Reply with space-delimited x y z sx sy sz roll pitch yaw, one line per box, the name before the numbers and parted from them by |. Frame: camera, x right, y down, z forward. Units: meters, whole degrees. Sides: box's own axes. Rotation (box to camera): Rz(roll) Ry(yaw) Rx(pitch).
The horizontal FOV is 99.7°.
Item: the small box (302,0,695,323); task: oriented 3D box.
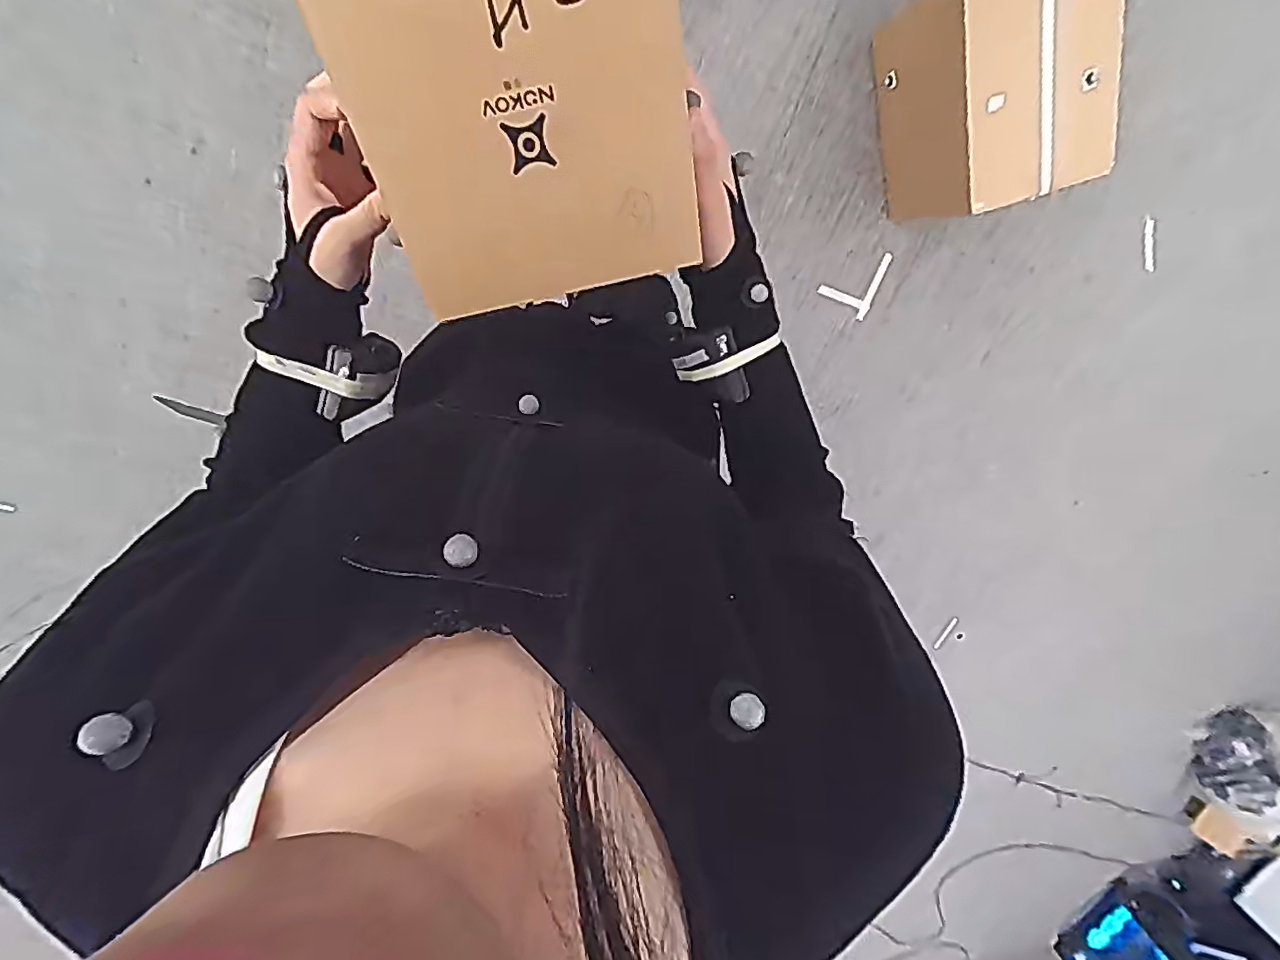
small box | -0.069 -0.226 0.339 0.168 0.176 0.179 -13 128 -1
